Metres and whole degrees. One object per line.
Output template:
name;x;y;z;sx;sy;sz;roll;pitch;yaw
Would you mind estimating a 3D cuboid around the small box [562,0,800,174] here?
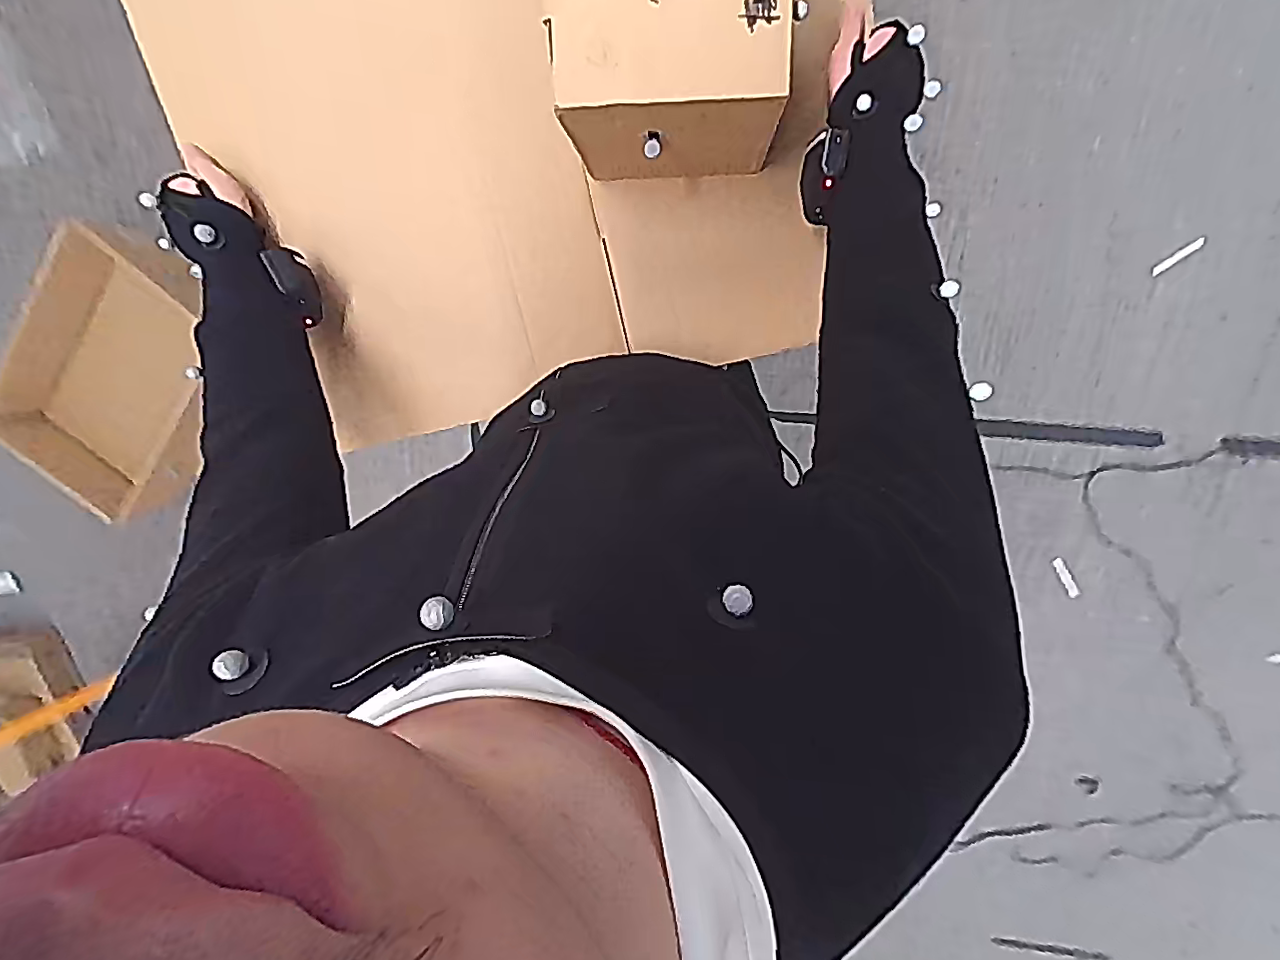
small box;0.037;-0.380;0.466;0.179;0.176;0.168;2;103;6
